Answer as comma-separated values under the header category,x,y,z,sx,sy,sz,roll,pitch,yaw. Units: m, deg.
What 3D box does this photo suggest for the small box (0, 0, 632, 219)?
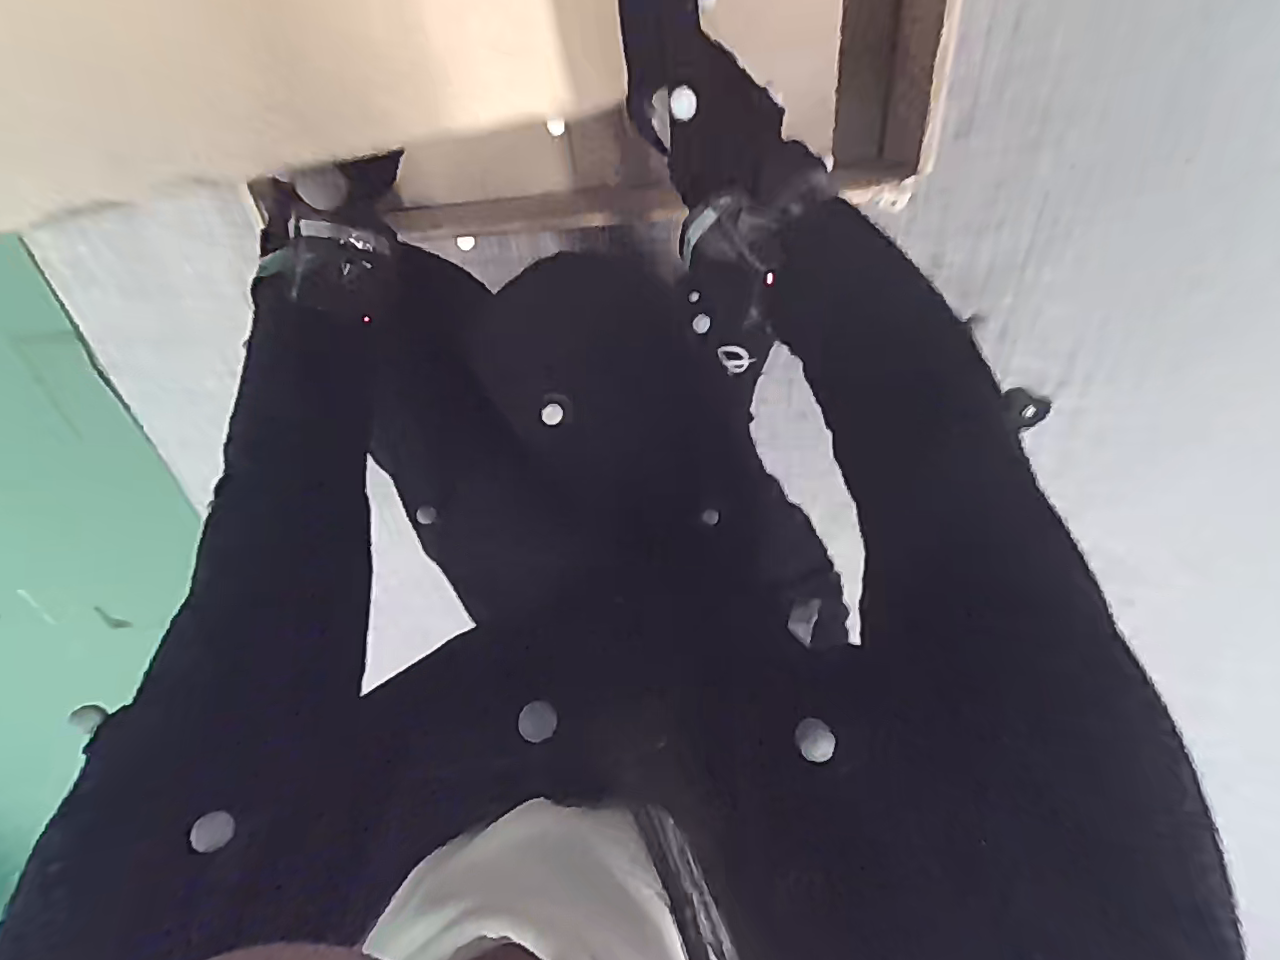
category,x,y,z,sx,sy,sz,roll,pitch,yaw
small box,-0.106,-0.187,0.151,0.179,0.176,0.168,-9,124,9
